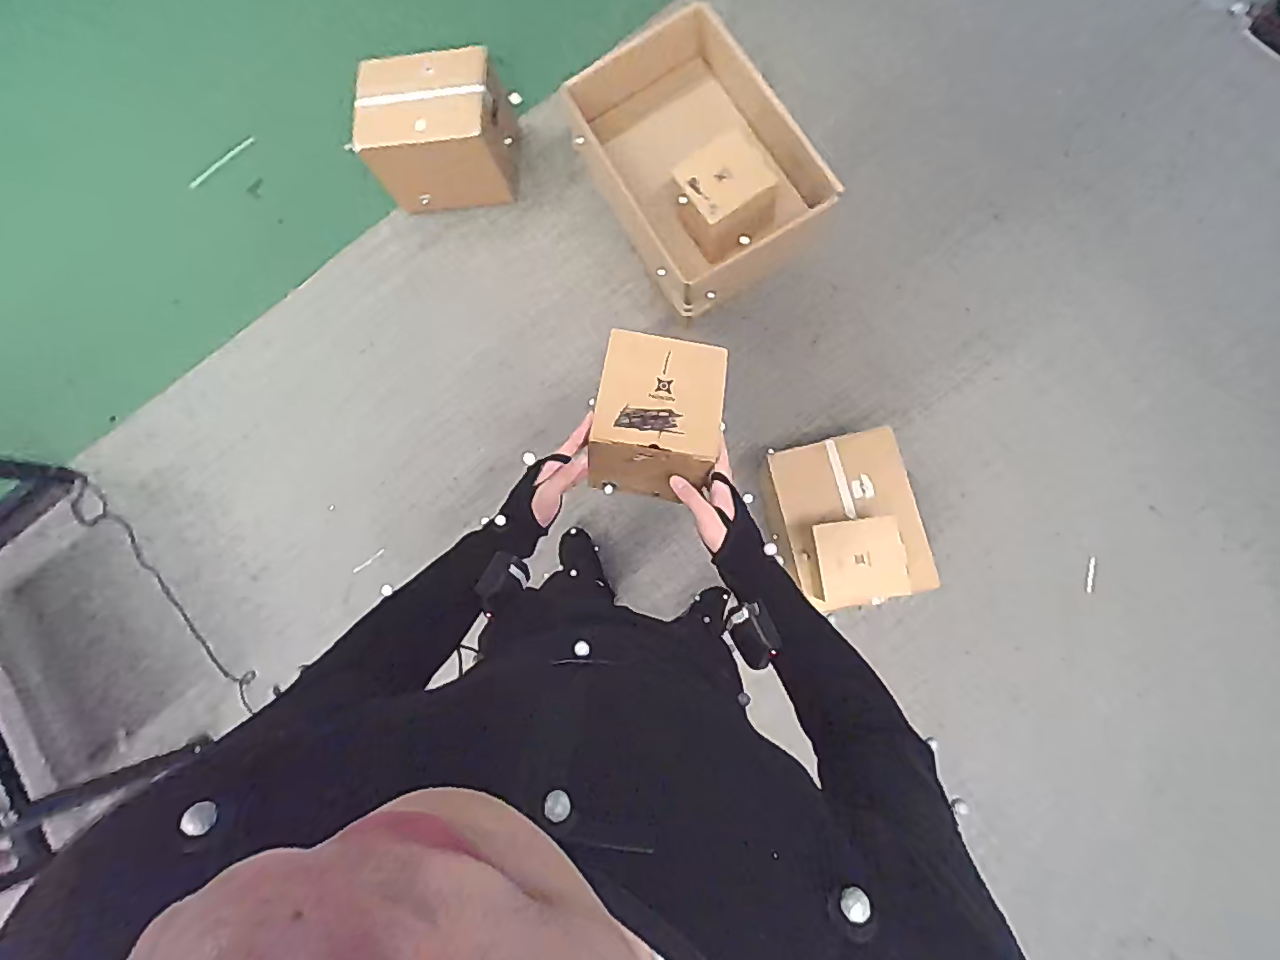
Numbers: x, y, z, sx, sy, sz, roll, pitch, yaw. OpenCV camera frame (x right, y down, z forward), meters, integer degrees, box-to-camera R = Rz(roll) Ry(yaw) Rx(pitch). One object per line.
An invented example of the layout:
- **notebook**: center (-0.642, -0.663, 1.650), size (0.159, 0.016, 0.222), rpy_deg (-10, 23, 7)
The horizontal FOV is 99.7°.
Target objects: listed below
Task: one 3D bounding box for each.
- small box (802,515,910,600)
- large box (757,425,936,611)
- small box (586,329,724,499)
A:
- **small box**: center (0.472, 0.171, 1.203), size (0.179, 0.176, 0.168), rpy_deg (-7, 81, 8)
- **large box**: center (0.523, 0.111, 1.455), size (0.320, 0.320, 0.408), rpy_deg (-13, 80, 4)
- **small box**: center (0.018, -0.086, 0.783), size (0.168, 0.176, 0.179), rpy_deg (9, 66, -2)
